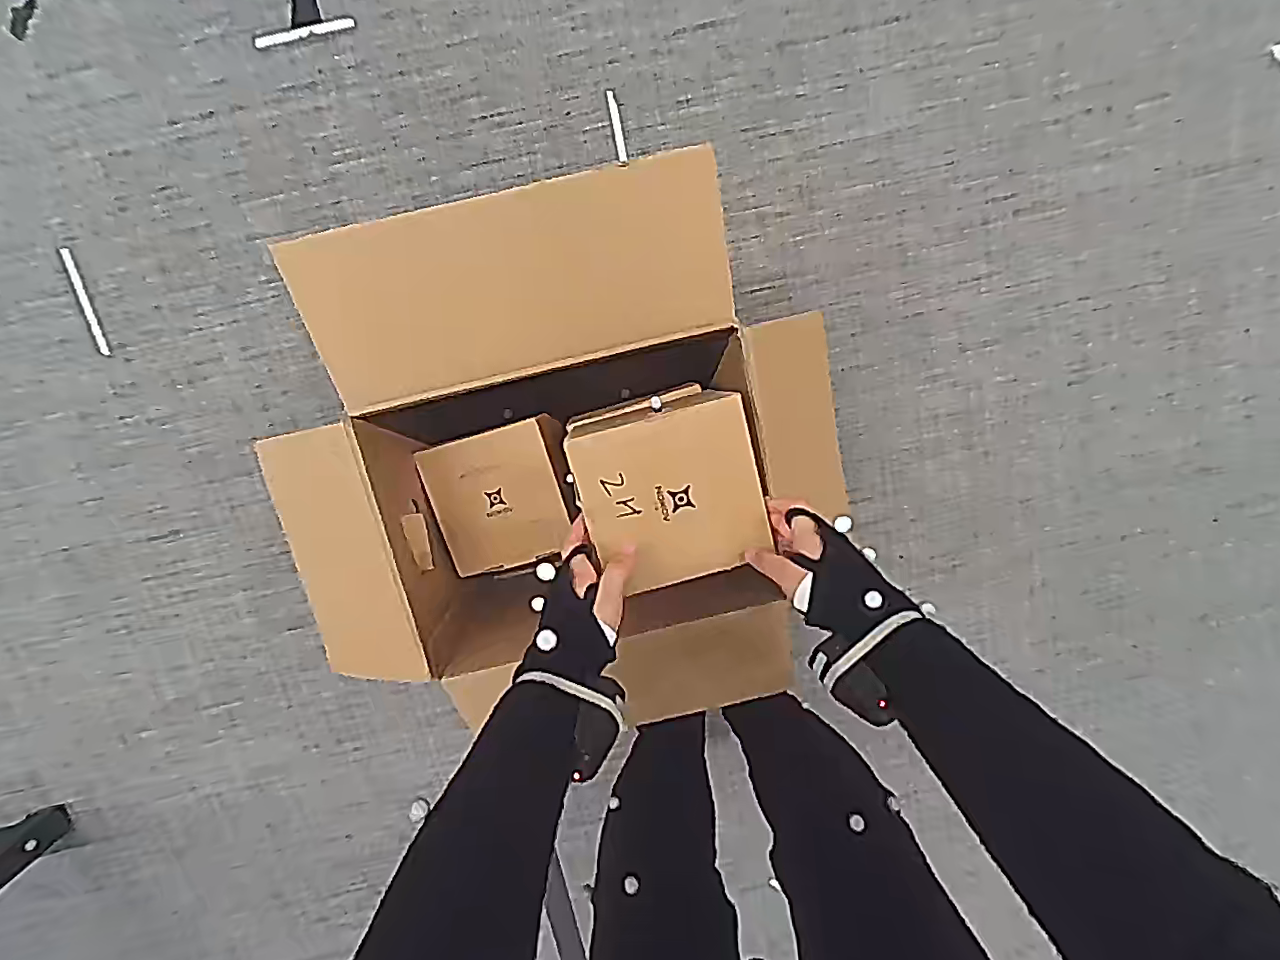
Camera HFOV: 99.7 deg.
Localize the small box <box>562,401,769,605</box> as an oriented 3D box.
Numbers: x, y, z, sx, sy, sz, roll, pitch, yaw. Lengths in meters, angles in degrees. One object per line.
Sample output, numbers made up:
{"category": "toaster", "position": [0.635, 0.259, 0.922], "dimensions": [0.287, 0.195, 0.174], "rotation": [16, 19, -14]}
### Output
{"category": "small box", "position": [0.023, 0.013, 0.604], "dimensions": [0.179, 0.176, 0.168], "rotation": [-15, 101, 0]}
